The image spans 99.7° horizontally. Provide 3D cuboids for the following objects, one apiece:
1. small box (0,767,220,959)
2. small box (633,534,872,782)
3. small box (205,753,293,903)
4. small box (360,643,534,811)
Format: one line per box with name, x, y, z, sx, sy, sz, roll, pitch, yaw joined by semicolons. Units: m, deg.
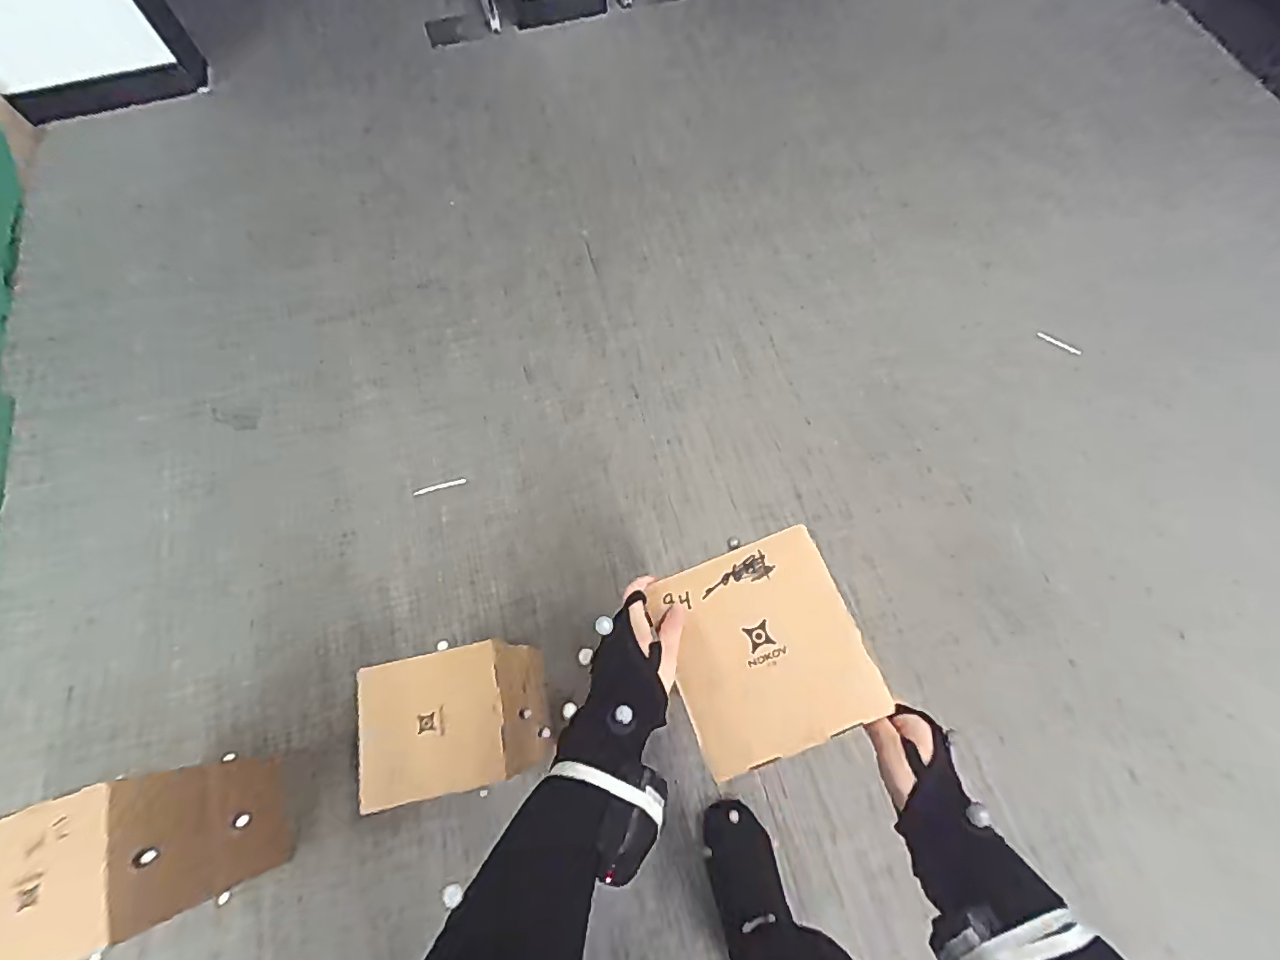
small box;-0.678;0.492;0.690;0.168;0.176;0.179;-17;69;-7
small box;0.107;0.177;0.565;0.168;0.176;0.179;-22;72;0
small box;-0.674;0.549;0.844;0.168;0.176;0.179;-16;69;-6
small box;-0.257;0.332;0.744;0.179;0.176;0.168;-12;69;-4
